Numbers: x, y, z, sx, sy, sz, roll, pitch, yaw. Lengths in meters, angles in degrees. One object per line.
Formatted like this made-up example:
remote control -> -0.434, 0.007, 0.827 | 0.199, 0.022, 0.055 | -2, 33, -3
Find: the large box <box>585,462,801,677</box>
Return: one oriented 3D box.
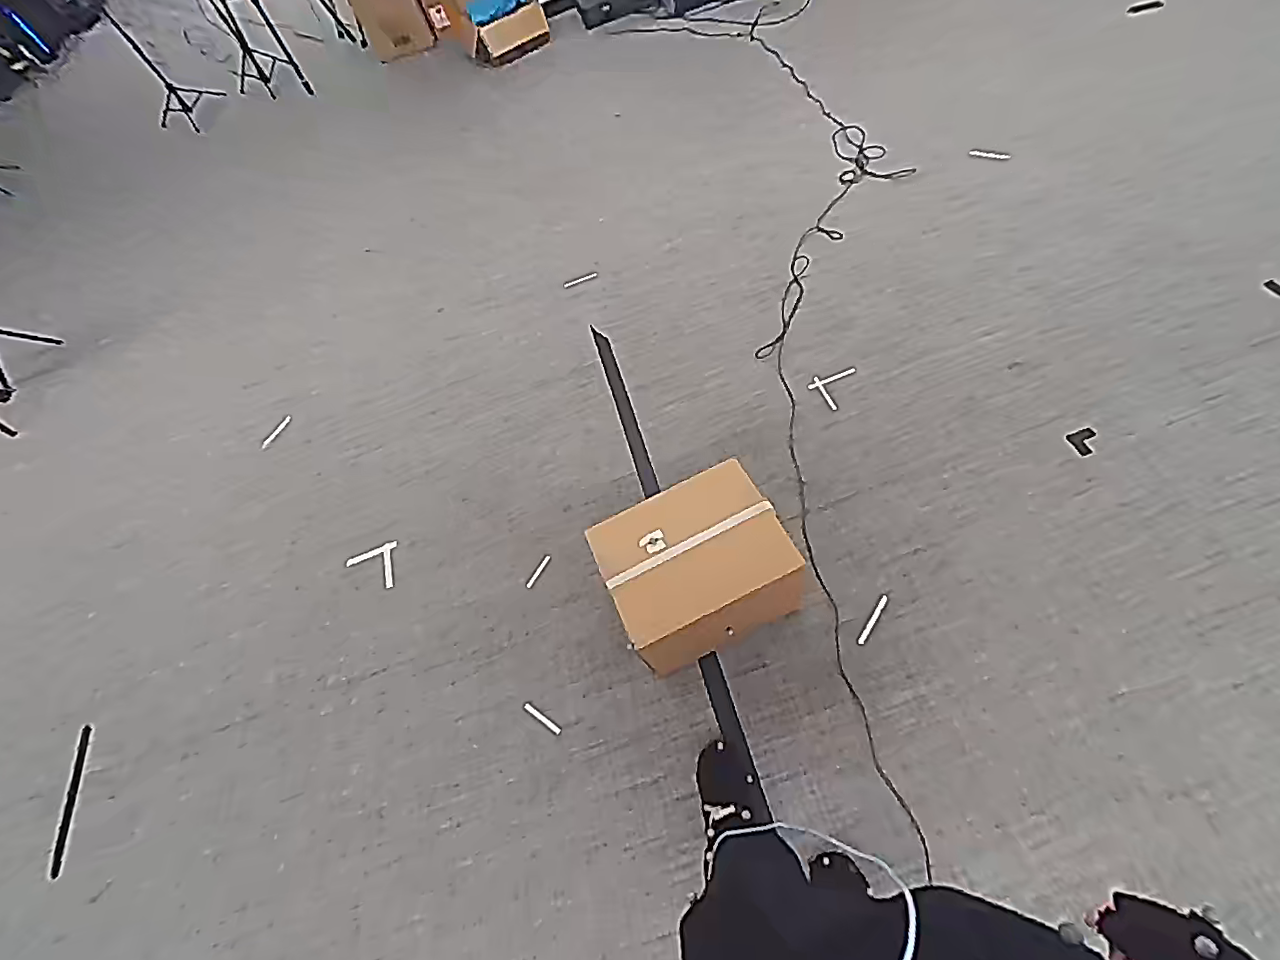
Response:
large box -> 0.137, 0.230, 1.323 | 0.408, 0.320, 0.320 | -27, 57, -1
